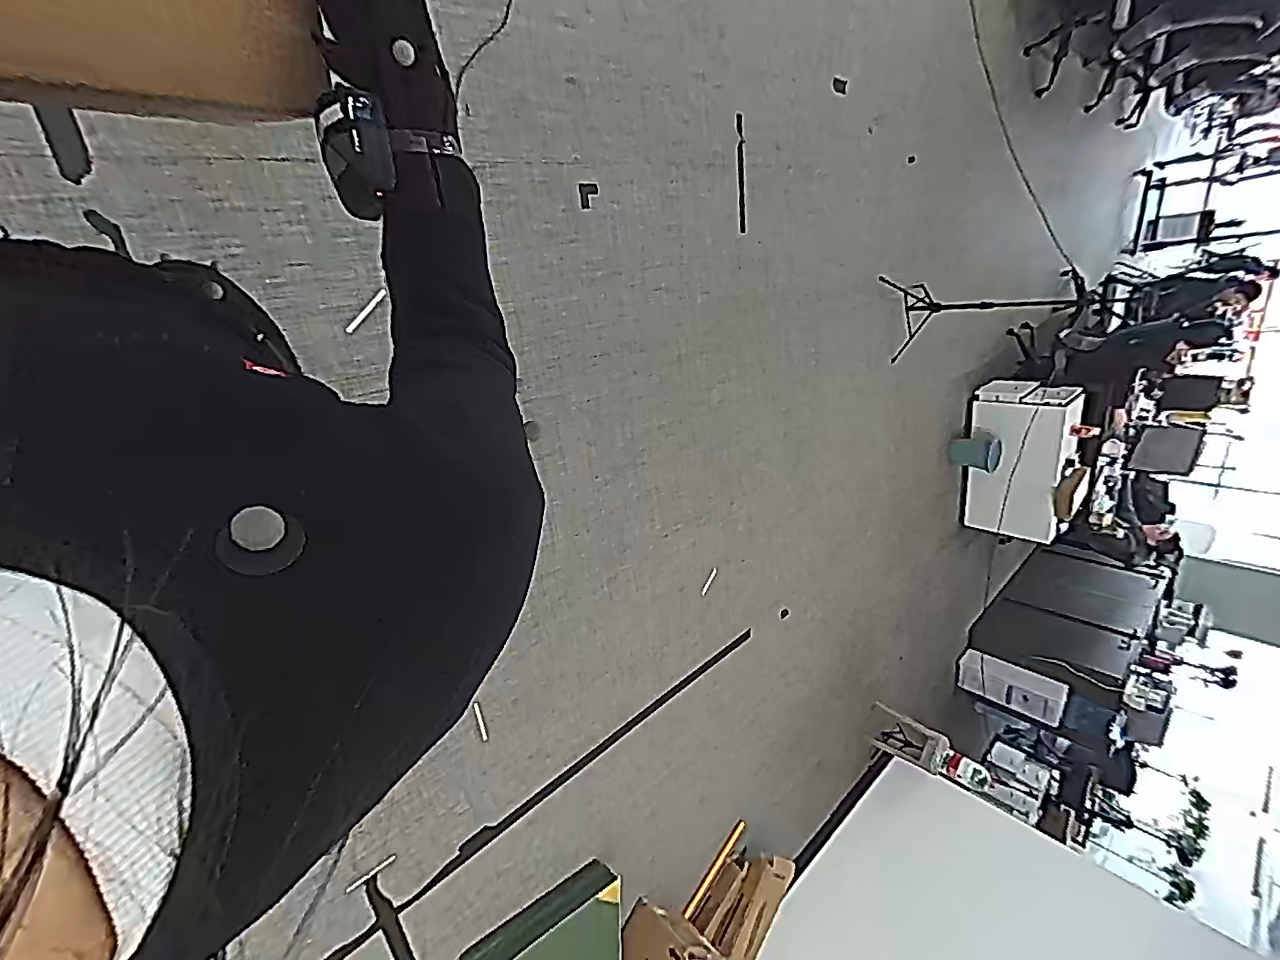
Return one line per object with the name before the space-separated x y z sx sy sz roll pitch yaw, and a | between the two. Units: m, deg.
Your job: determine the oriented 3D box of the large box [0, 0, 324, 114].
large box | -0.457 -0.398 0.280 0.408 0.320 0.320 -20 129 -37
